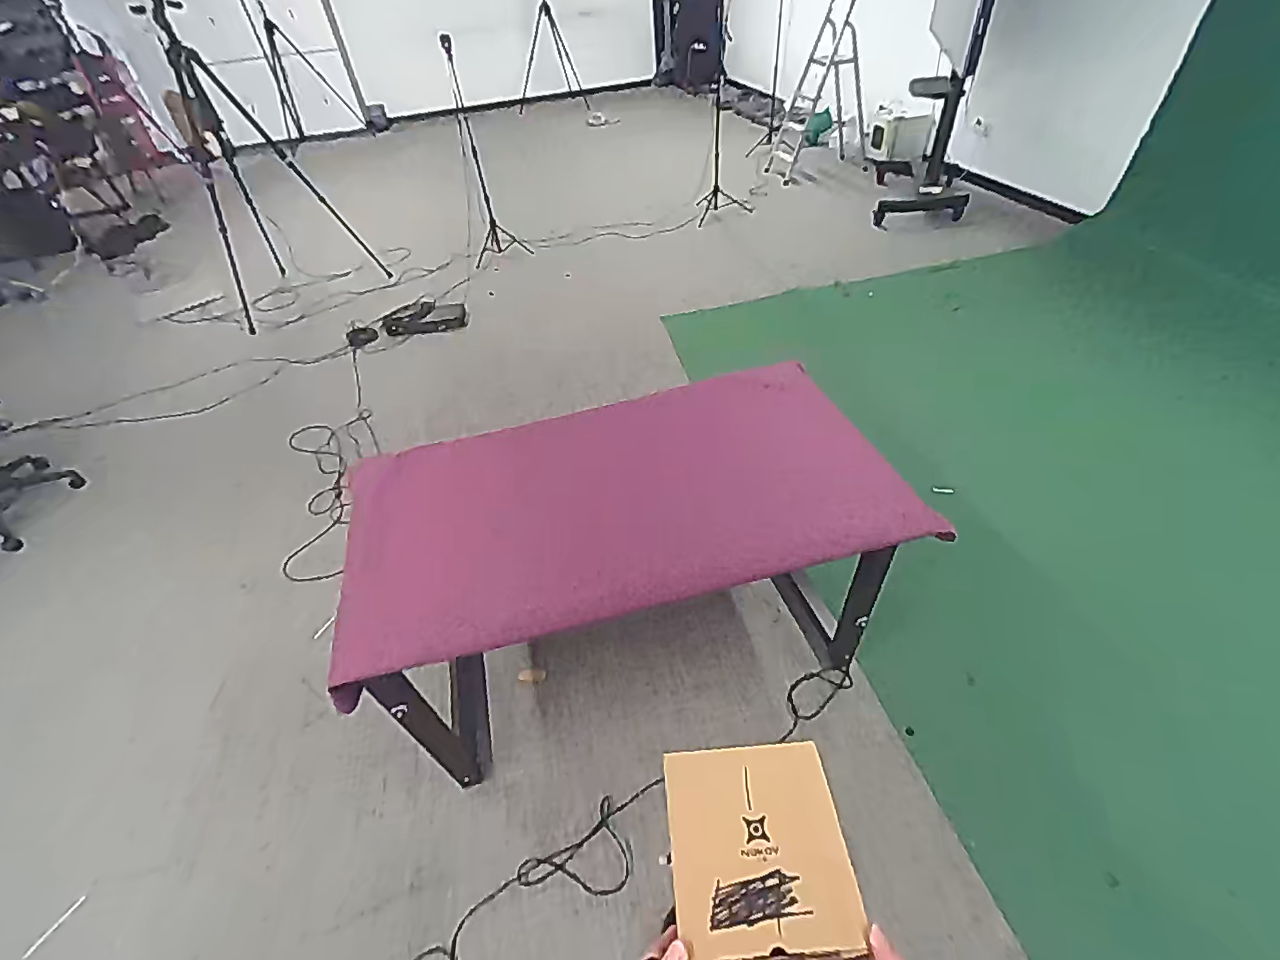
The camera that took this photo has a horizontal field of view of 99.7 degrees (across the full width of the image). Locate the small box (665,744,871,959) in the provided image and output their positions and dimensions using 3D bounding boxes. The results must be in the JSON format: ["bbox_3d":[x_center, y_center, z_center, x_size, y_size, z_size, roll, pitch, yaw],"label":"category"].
[{"bbox_3d":[0.117,0.406,0.569,0.168,0.176,0.179,-4,41,-1],"label":"small box"}]
